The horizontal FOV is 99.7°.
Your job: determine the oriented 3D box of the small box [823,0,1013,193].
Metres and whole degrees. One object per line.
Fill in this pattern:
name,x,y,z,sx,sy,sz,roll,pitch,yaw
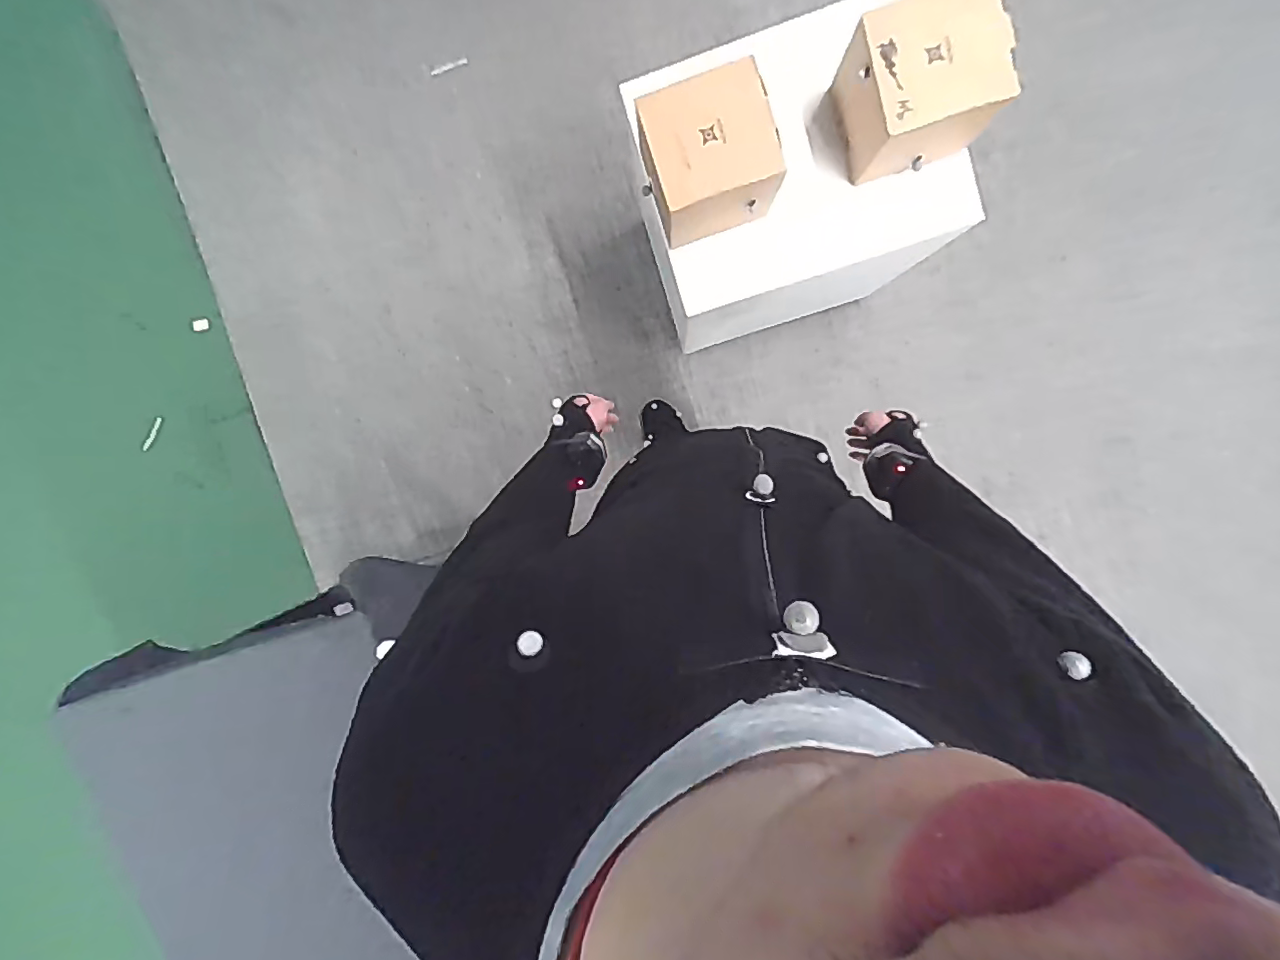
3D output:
small box,0.396,-0.561,0.797,0.179,0.176,0.168,-17,94,3

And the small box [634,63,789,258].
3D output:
small box,0.098,-0.464,0.816,0.179,0.176,0.168,-20,93,3
